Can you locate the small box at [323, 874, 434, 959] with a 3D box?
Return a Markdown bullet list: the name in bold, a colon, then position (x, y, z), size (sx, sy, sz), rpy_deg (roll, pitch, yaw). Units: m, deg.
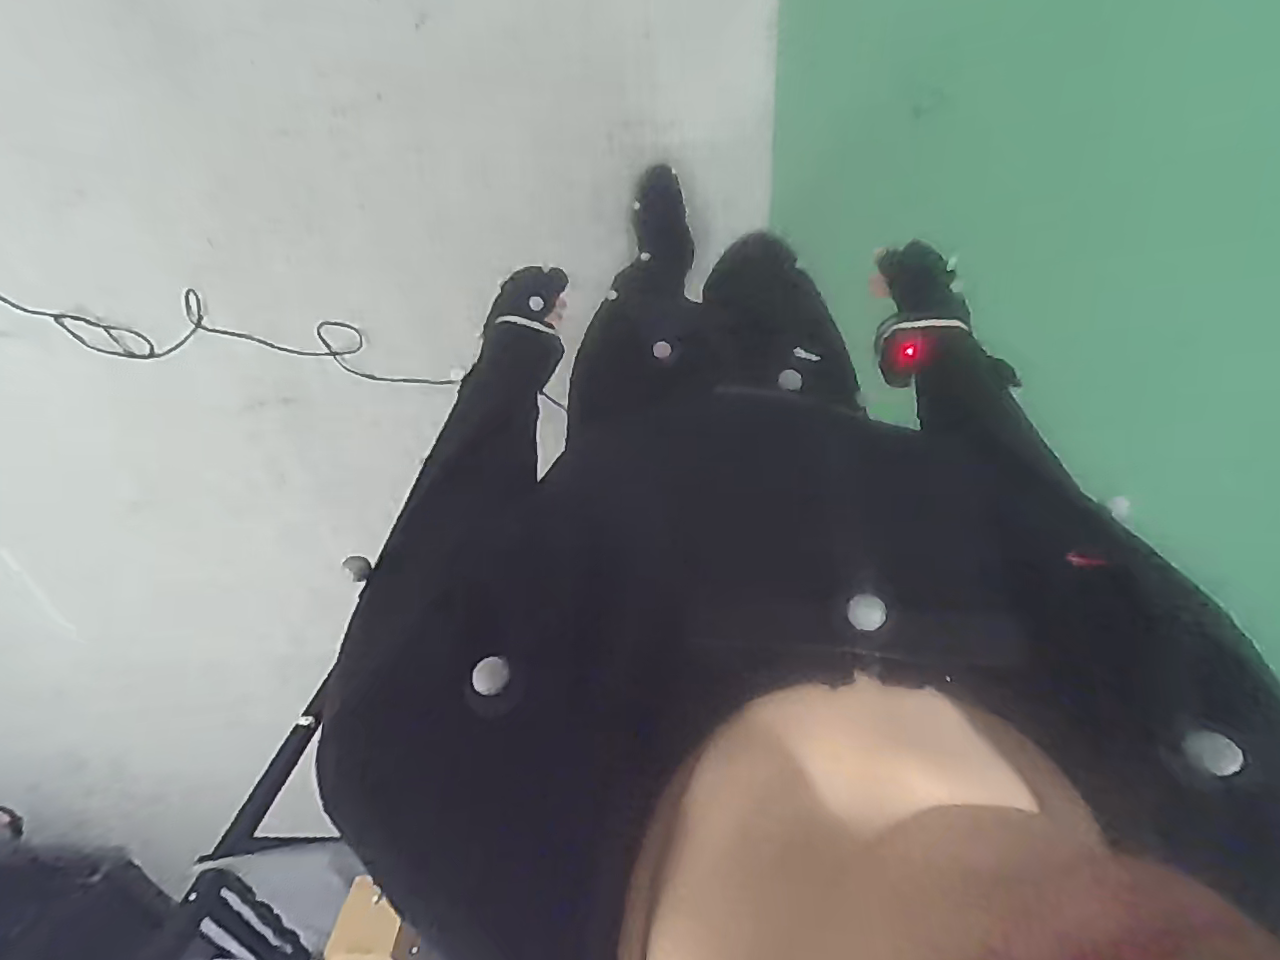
- **small box**: position (-0.639, 1.117, 1.348), size (0.168, 0.176, 0.179), rpy_deg (-5, 121, 4)
